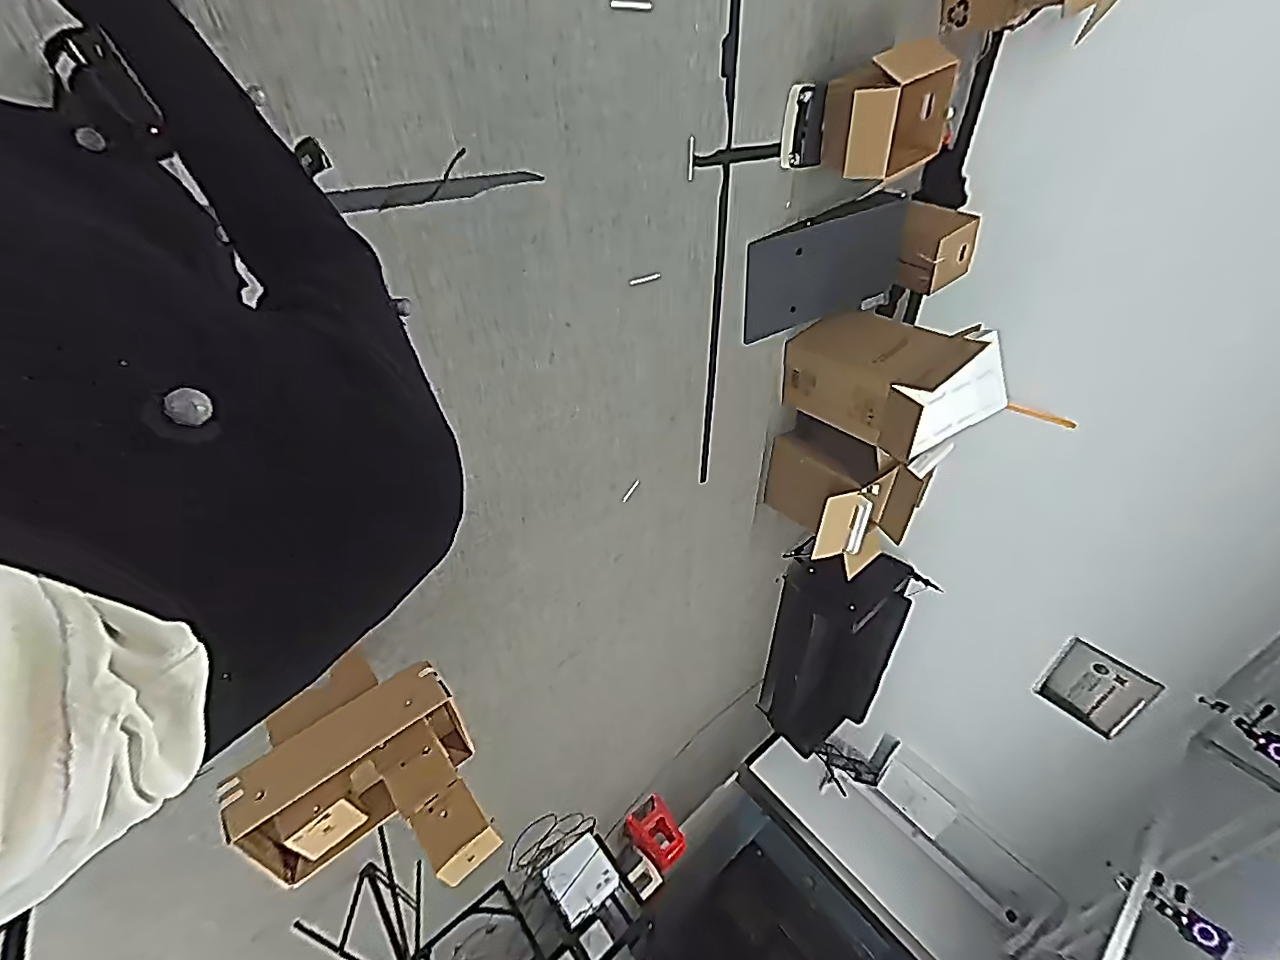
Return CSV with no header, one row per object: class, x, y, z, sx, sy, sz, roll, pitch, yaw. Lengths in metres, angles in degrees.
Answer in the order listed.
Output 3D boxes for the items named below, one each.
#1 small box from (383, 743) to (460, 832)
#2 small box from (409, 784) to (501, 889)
small box,-0.643,0.930,1.625,0.168,0.176,0.179,-31,139,-28
small box,-0.525,1.008,1.539,0.168,0.176,0.179,-33,140,-27
